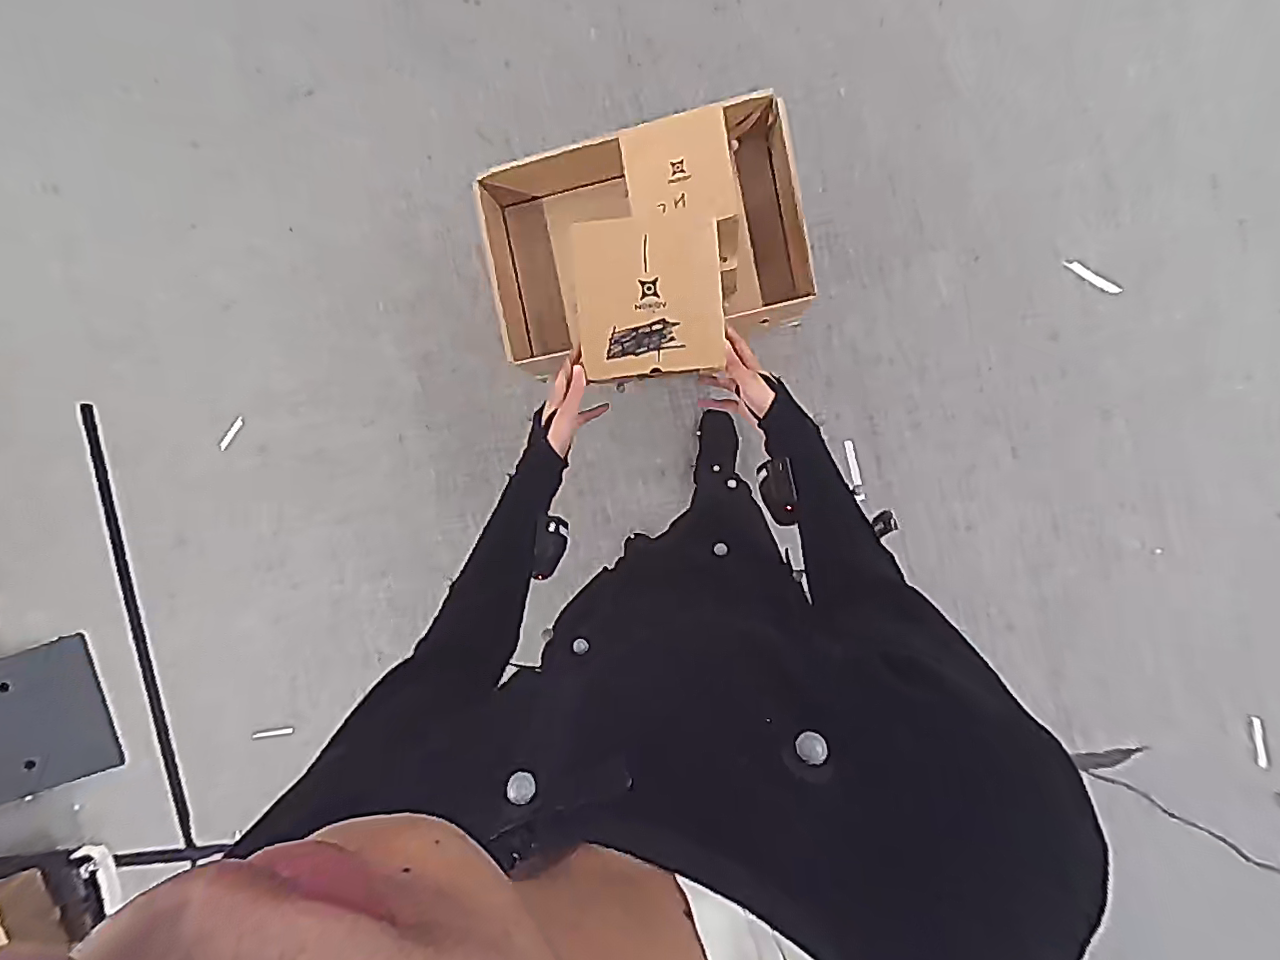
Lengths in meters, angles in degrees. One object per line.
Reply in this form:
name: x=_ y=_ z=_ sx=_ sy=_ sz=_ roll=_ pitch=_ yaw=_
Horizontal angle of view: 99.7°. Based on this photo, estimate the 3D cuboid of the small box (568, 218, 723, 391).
small box: x=0.011 y=-0.206 z=0.684 sx=0.168 sy=0.176 sz=0.179 roll=-5 pitch=98 yaw=2

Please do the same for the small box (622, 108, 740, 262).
small box: x=0.075 y=-0.477 z=0.918 sx=0.168 sy=0.176 sz=0.179 roll=-9 pitch=92 yaw=10
